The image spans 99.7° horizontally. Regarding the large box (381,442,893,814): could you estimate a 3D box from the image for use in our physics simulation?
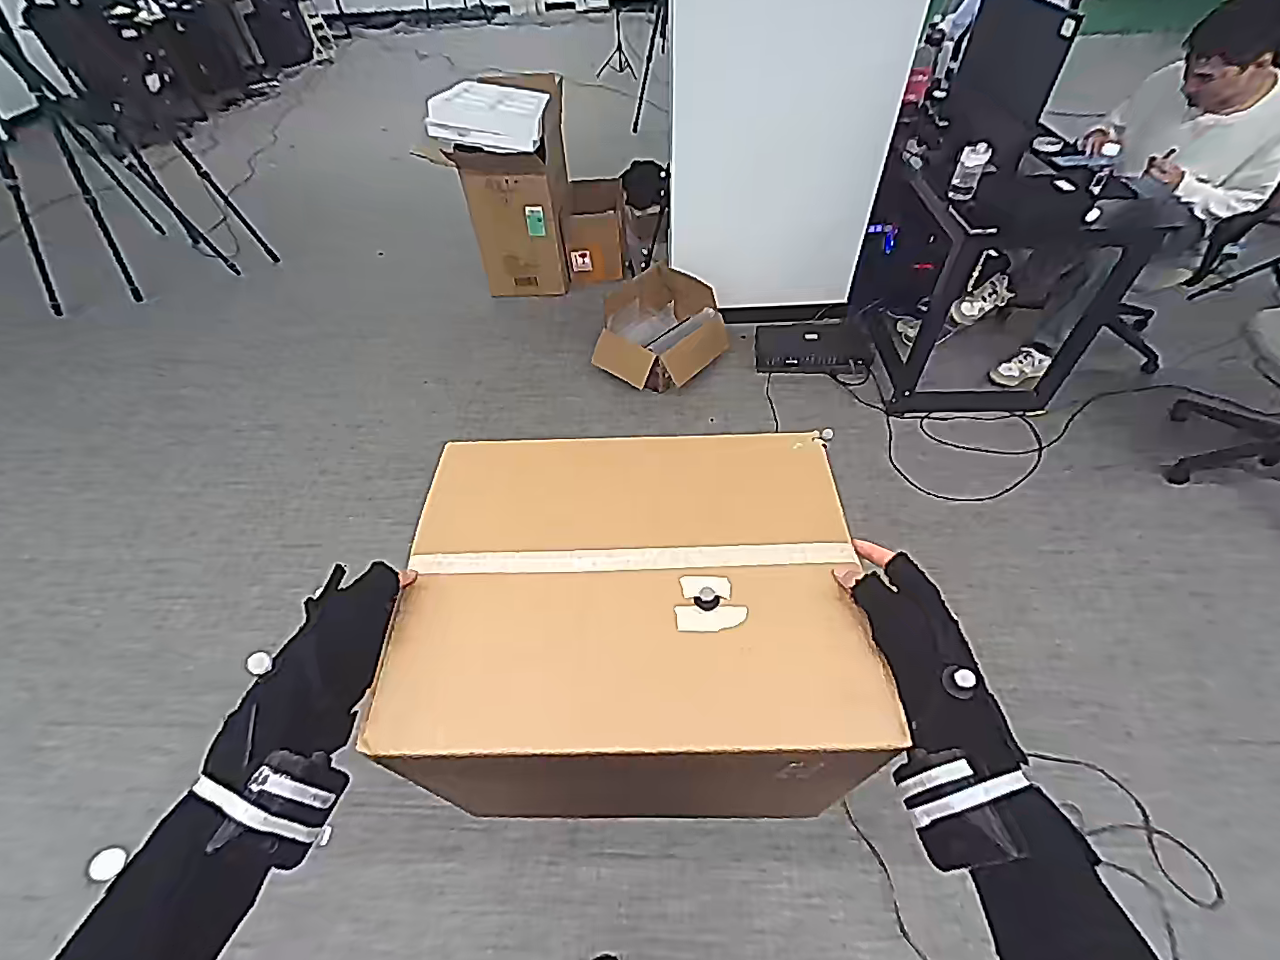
[{"bbox_3d":[-0.002,0.175,0.620,0.408,0.320,0.320,-1,51,1],"label":"large box"}]
